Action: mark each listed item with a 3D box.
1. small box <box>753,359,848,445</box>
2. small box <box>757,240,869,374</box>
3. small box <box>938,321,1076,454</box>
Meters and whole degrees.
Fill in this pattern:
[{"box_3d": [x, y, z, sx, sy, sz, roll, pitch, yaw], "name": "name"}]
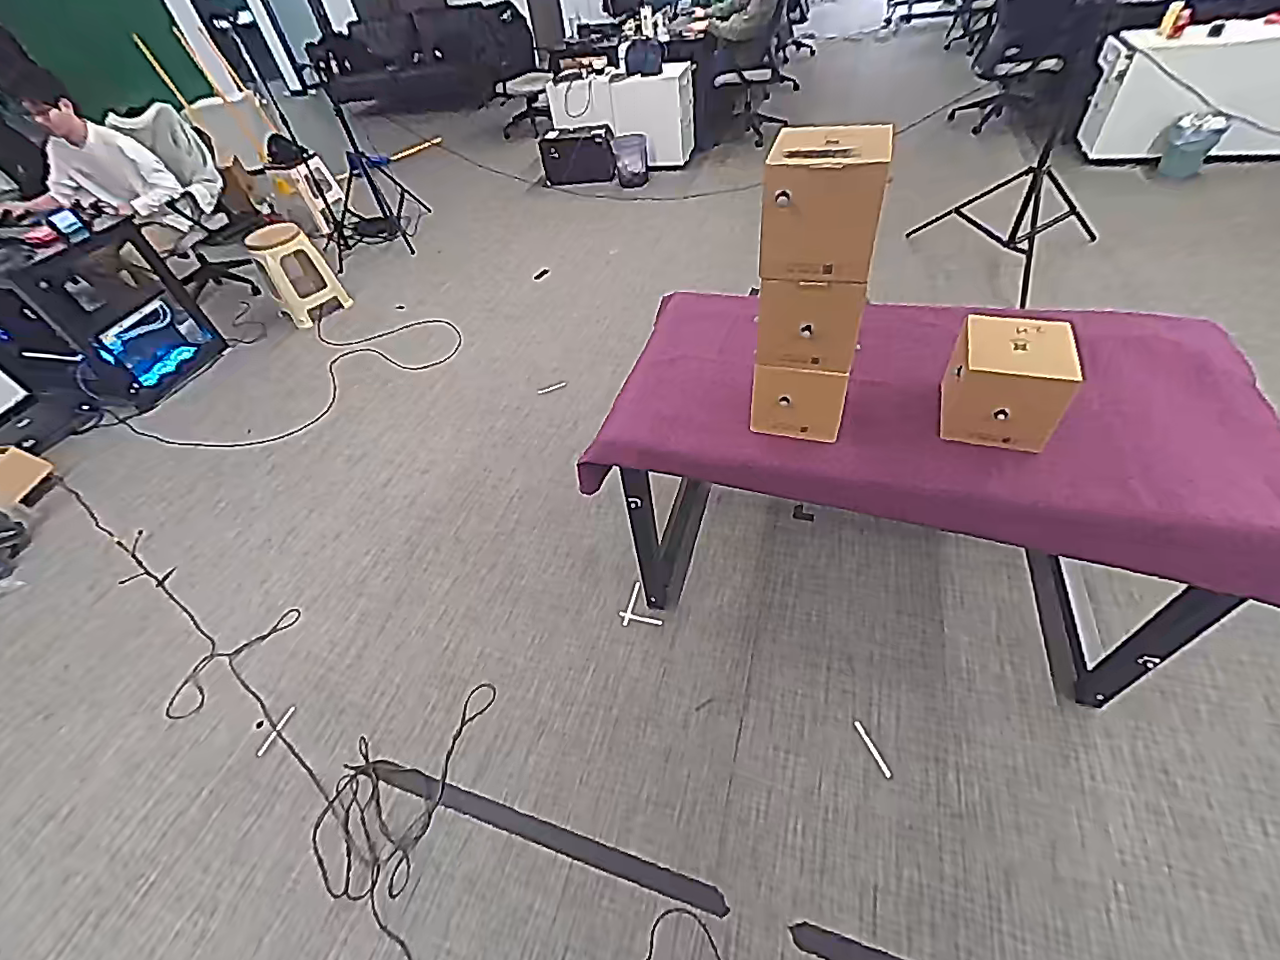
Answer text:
[{"box_3d": [0.322, -0.192, 1.080, 0.168, 0.176, 0.179, 10, 49, 17], "name": "small box"}, {"box_3d": [0.304, -0.307, 0.965, 0.168, 0.176, 0.179, 9, 49, 15], "name": "small box"}, {"box_3d": [0.669, -0.171, 1.005, 0.168, 0.176, 0.179, 12, 50, 18], "name": "small box"}]
